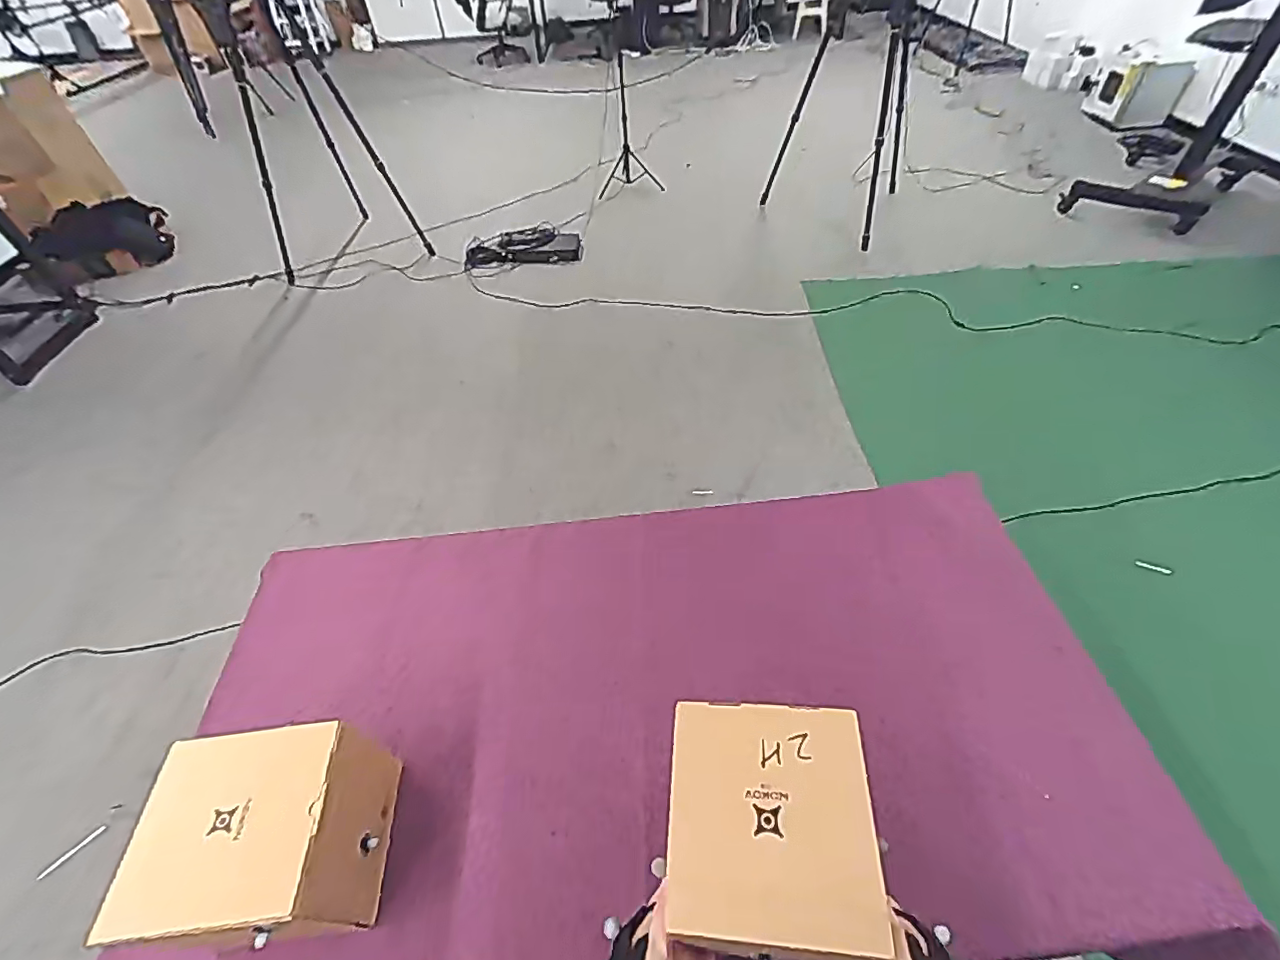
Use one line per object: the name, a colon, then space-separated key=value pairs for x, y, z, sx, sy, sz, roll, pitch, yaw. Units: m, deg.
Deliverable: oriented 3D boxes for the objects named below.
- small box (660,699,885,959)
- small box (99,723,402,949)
small box: x=0.117 y=0.328 z=0.507 sx=0.168 sy=0.176 sz=0.179 roll=-2 pitch=45 yaw=11
small box: x=-0.385 y=0.383 z=0.579 sx=0.179 sy=0.176 sz=0.168 roll=-7 pitch=48 yaw=-2
